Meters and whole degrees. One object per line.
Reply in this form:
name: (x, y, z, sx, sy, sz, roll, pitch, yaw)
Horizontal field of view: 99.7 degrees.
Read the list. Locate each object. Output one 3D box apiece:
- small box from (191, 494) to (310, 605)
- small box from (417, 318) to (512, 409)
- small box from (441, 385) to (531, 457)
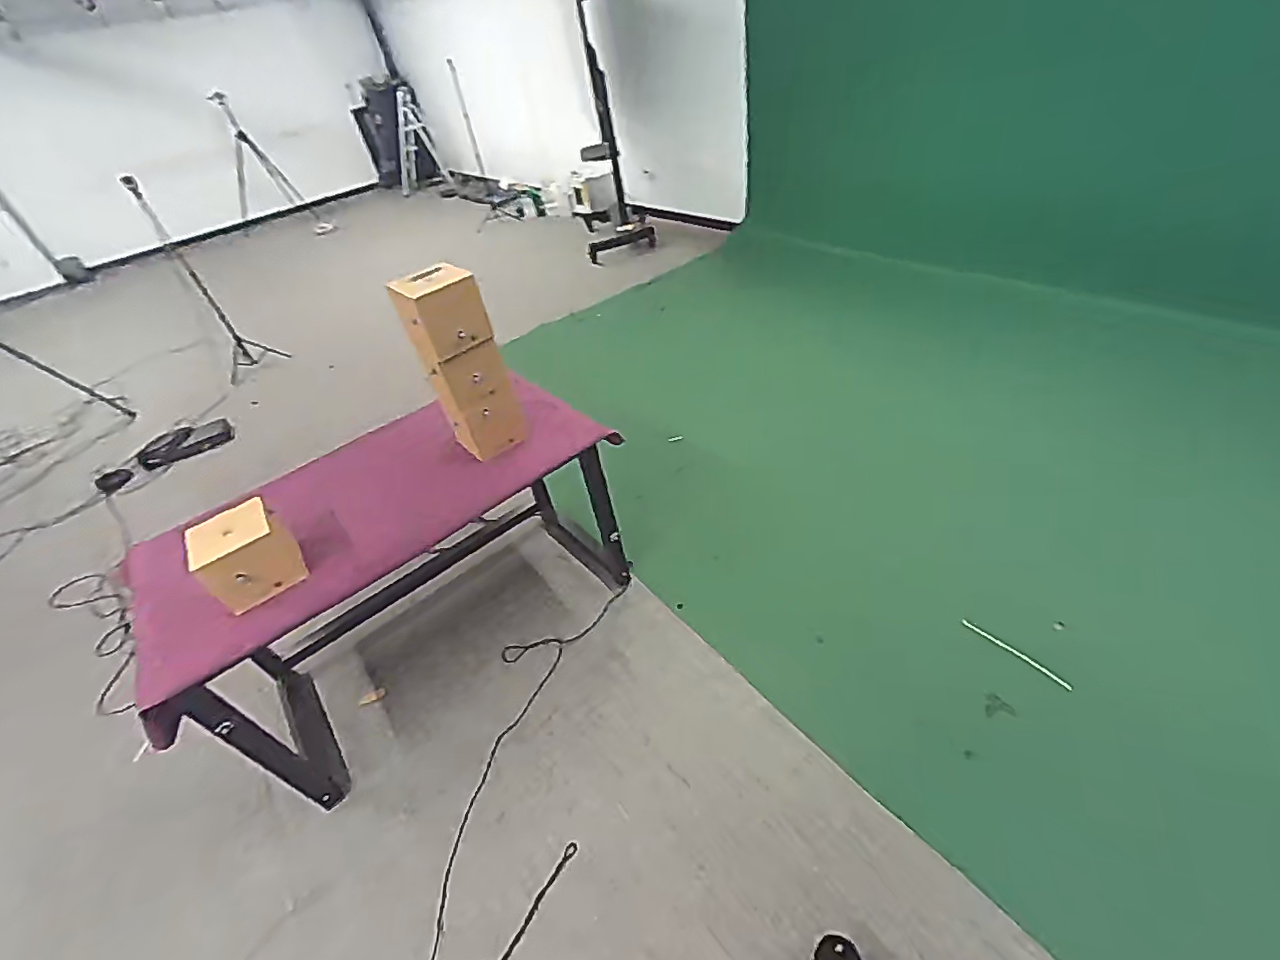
small box: (-0.925, 0.172, 1.292, 0.168, 0.176, 0.179, -33, 44, -22)
small box: (-0.478, -0.316, 1.488, 0.168, 0.176, 0.179, -33, 44, -23)
small box: (-0.450, -0.193, 1.594, 0.168, 0.176, 0.179, -35, 45, -23)
